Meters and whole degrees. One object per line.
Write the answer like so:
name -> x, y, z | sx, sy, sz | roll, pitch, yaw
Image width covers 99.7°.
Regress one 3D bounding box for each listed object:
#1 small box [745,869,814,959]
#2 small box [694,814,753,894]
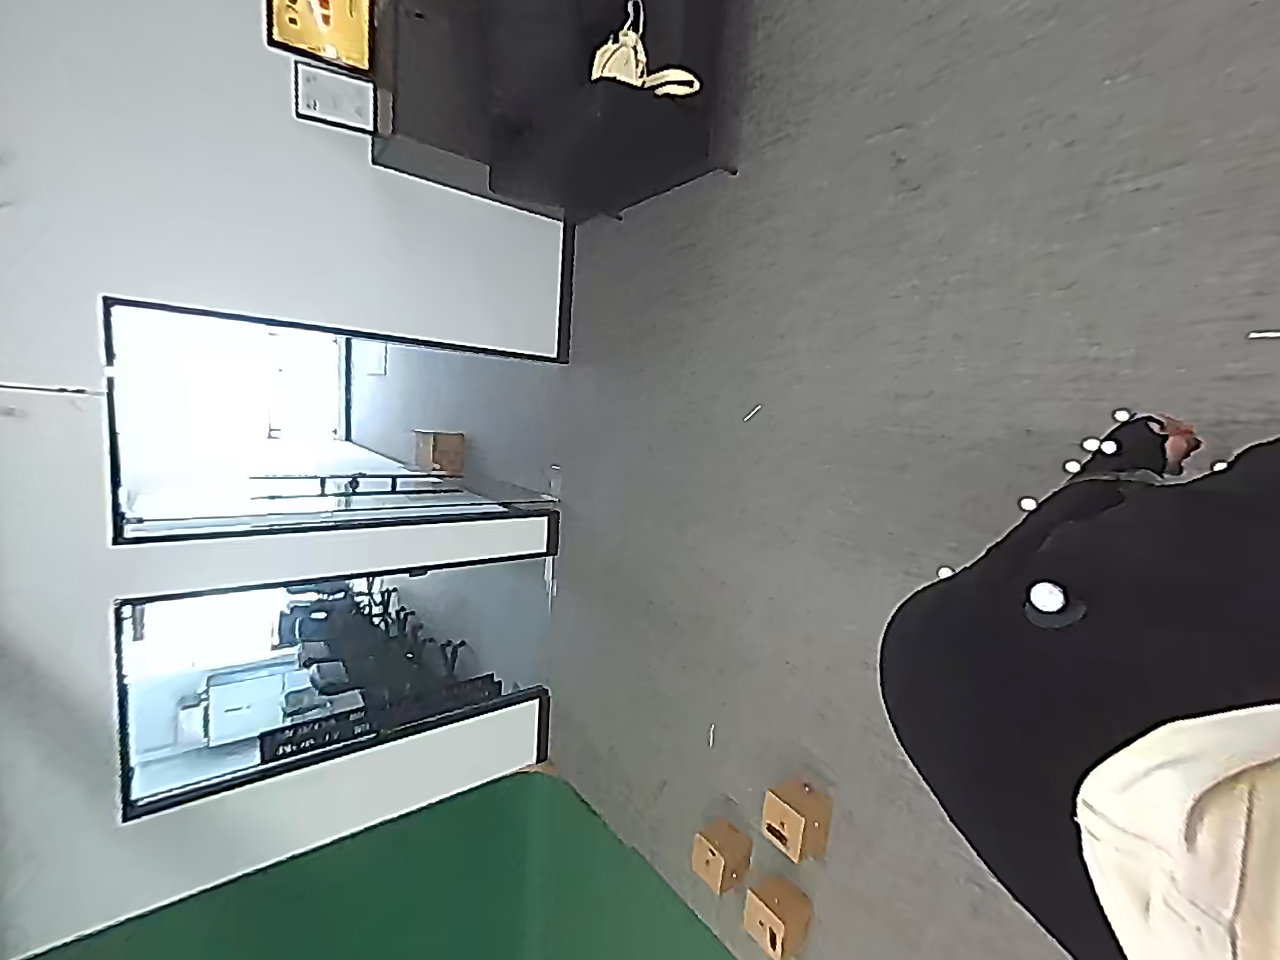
small box -> 0.516, 1.595, 1.996 | 0.179, 0.176, 0.168 | 15, 102, 51
small box -> 0.344, 1.527, 2.219 | 0.168, 0.176, 0.179 | 18, 106, 51
